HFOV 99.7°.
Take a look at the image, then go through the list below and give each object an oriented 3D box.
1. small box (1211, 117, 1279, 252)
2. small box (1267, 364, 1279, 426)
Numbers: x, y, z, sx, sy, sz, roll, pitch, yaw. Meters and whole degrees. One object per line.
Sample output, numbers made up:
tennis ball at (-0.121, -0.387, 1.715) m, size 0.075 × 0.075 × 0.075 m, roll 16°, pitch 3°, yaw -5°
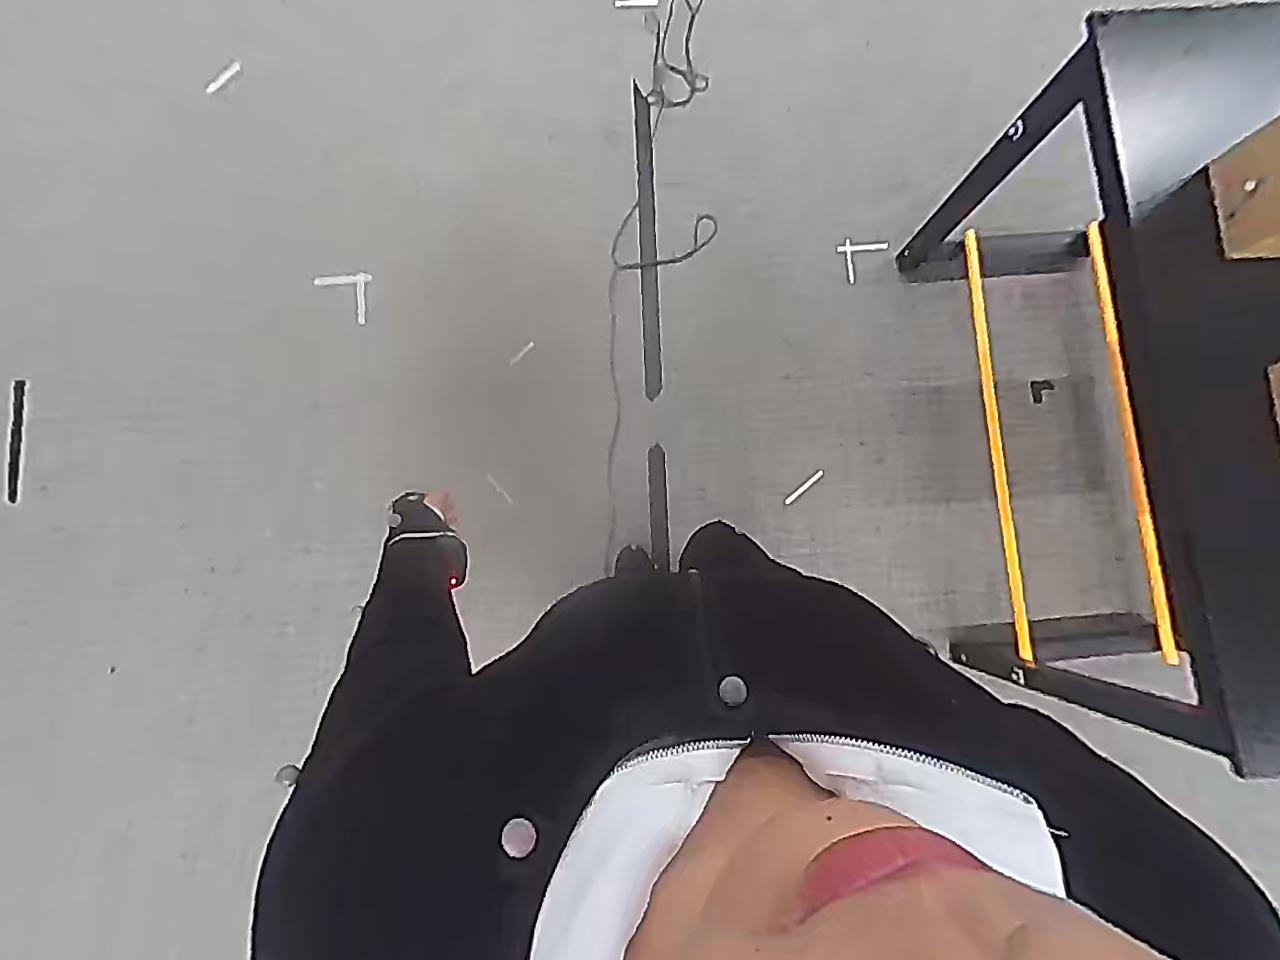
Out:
small box at (0.995, -0.446, 0.772) m, size 0.179 × 0.176 × 0.168 m, roll -2°, pitch 82°, yaw 0°
small box at (1.040, -0.114, 0.731) m, size 0.179 × 0.176 × 0.168 m, roll -5°, pitch 81°, yaw 0°
